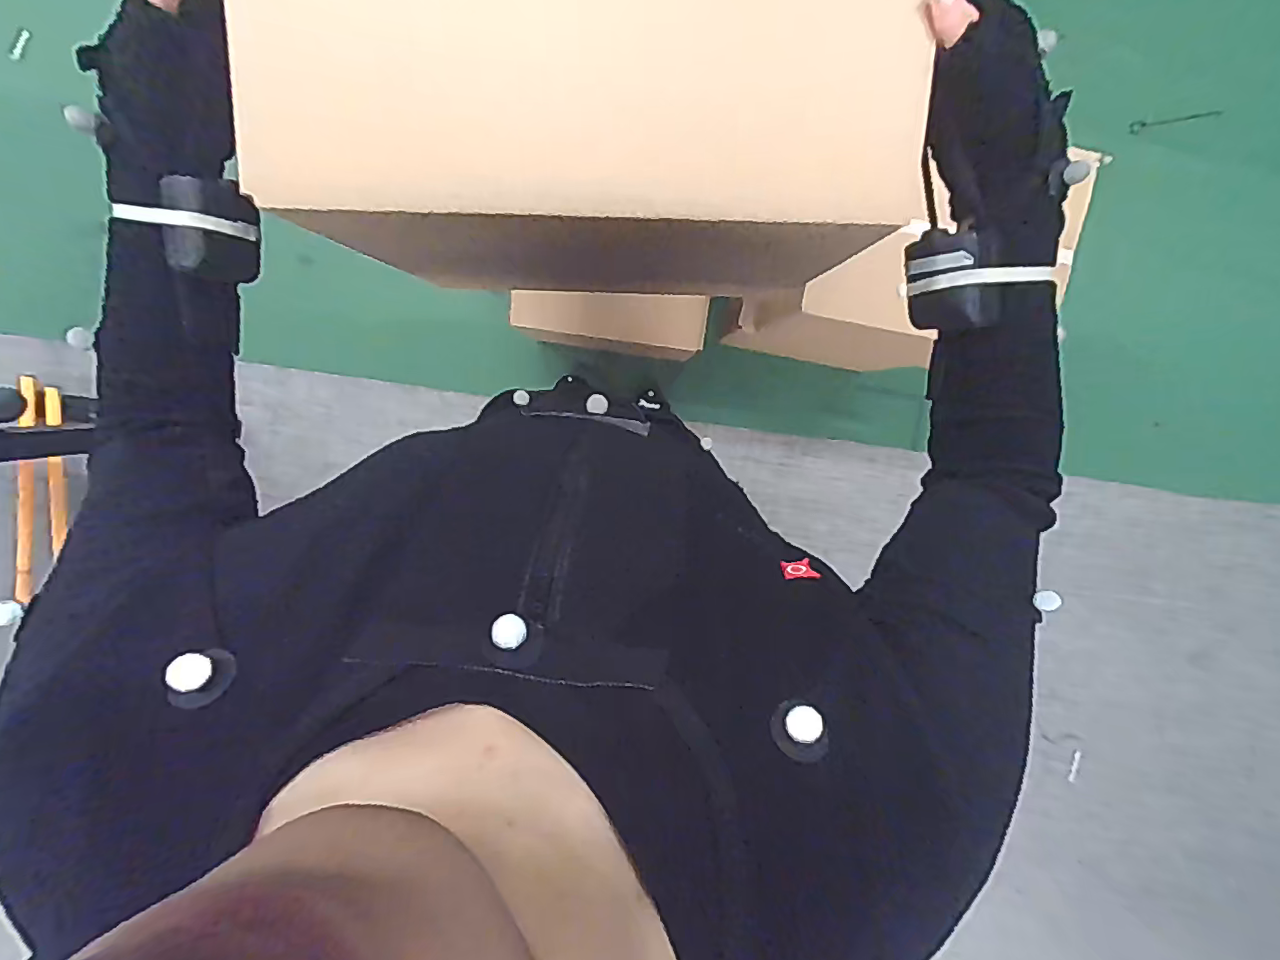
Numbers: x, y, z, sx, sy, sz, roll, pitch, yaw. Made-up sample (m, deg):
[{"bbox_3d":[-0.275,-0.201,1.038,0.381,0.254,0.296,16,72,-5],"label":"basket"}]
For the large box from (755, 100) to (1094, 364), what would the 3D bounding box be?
[{"bbox_3d":[0.459,-0.401,0.969,0.408,0.320,0.320,10,99,-4],"label":"large box"}]
